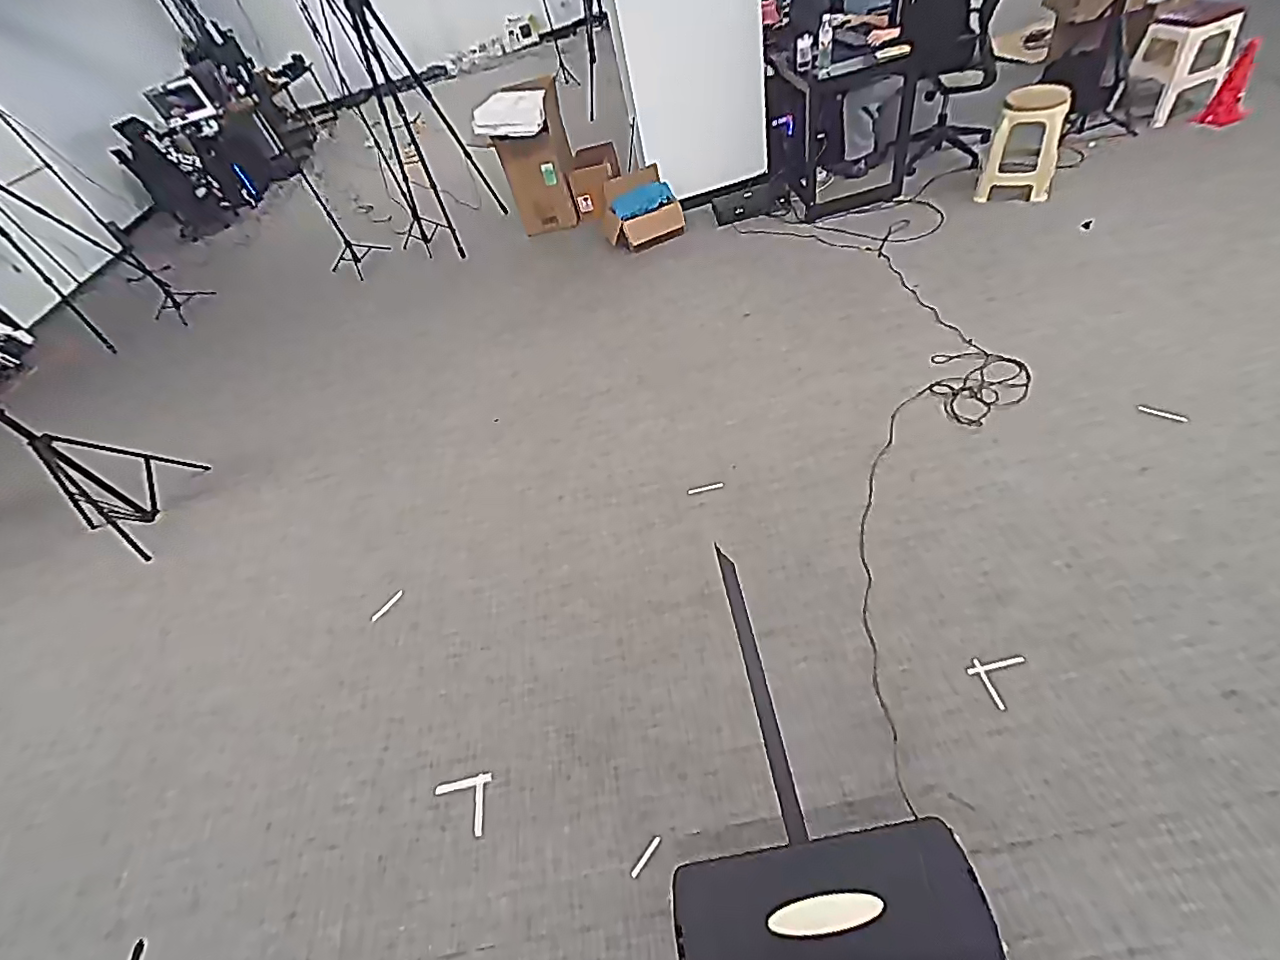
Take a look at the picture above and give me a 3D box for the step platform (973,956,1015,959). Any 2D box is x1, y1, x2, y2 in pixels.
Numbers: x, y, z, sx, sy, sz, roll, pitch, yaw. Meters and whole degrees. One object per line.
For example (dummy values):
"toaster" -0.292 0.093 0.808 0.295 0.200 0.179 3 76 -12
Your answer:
"step platform" 0.447 1.120 0.993 0.684 0.204 0.286 -16 46 4
